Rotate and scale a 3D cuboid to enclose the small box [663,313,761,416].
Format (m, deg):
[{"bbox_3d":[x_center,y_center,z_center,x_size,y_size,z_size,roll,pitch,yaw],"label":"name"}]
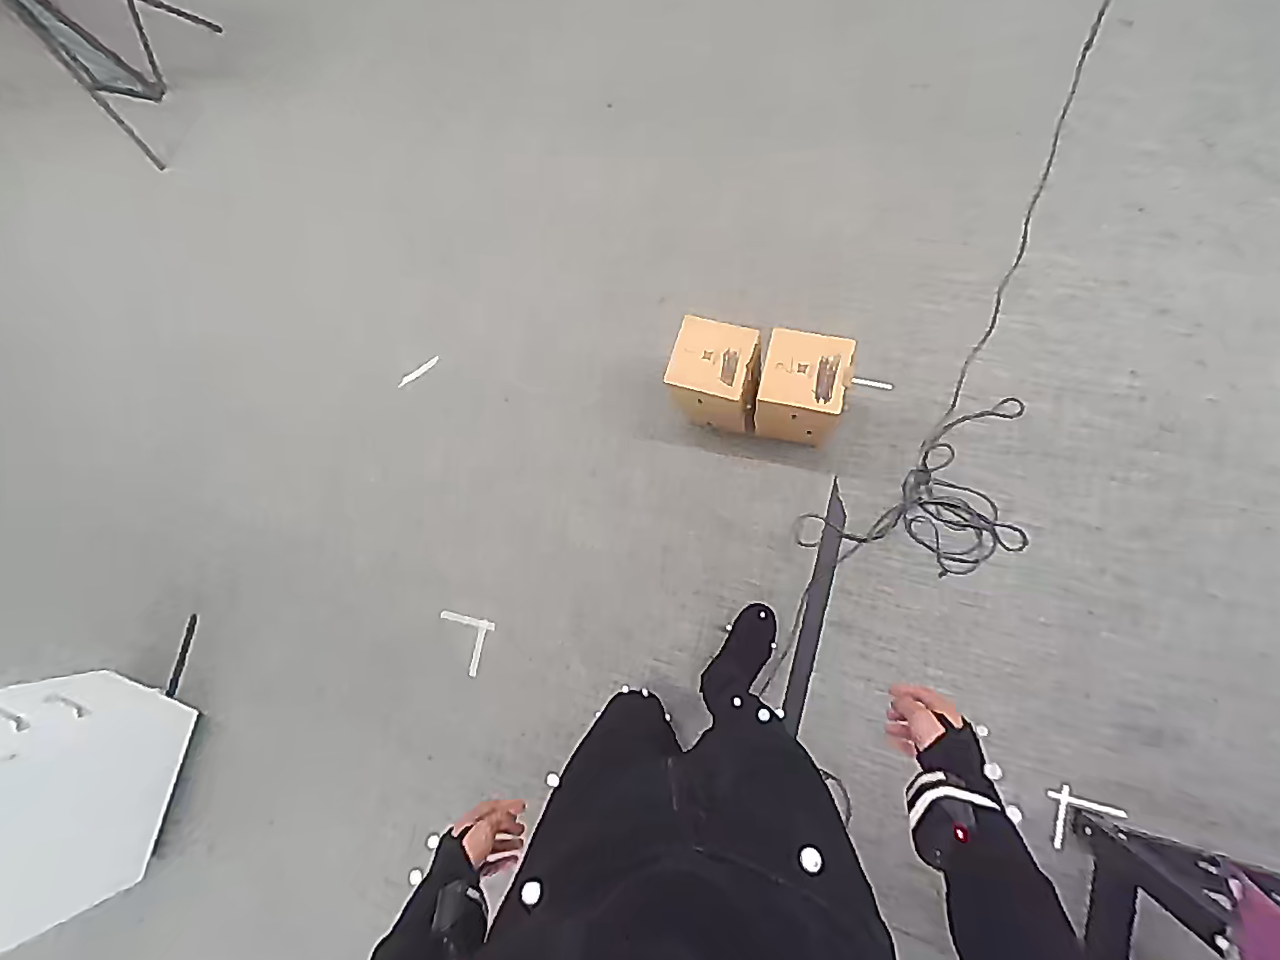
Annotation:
[{"bbox_3d":[0.173,-0.256,1.242,0.179,0.176,0.168,17,85,17],"label":"small box"}]
